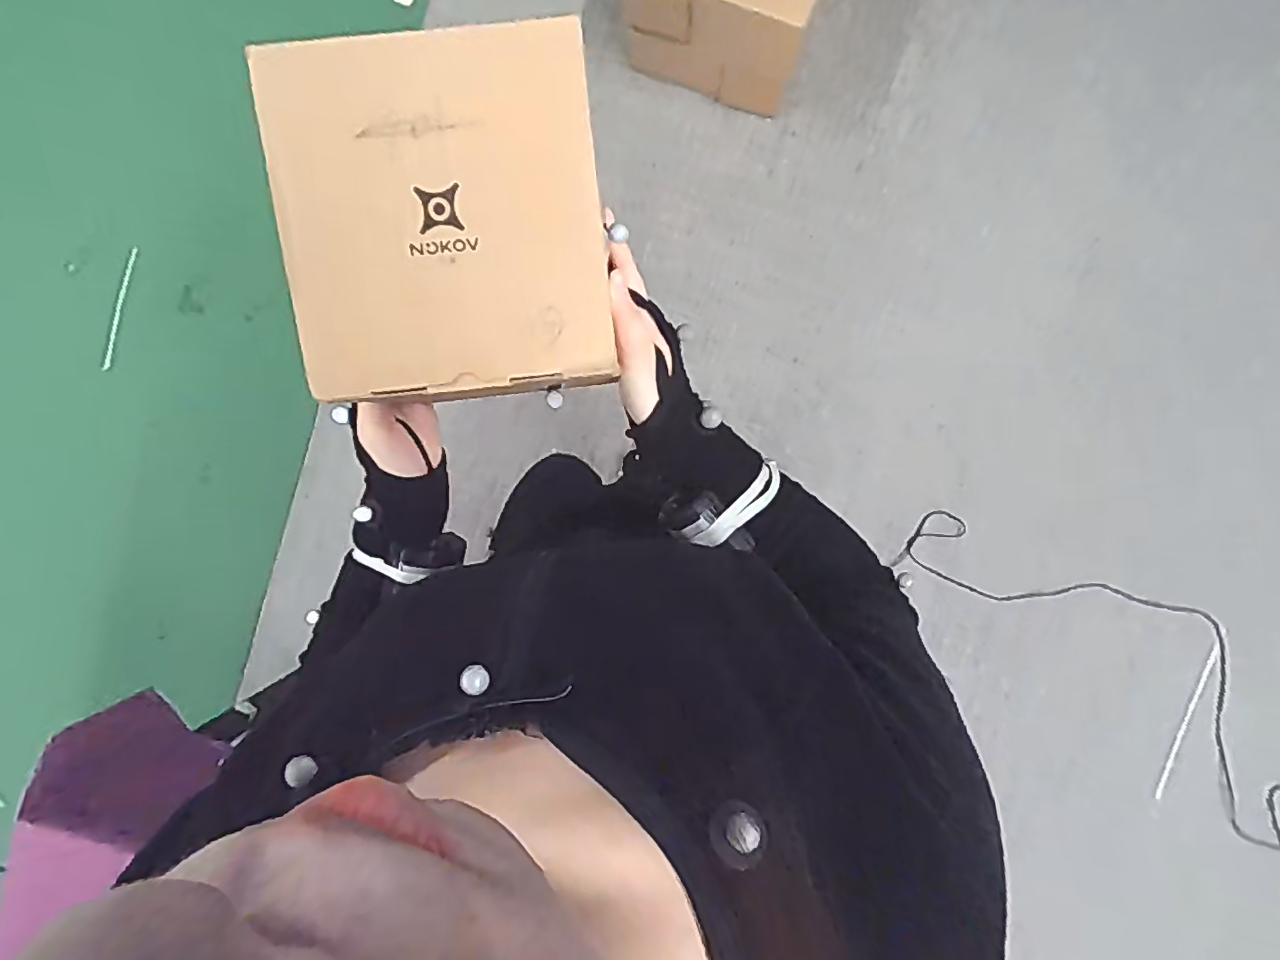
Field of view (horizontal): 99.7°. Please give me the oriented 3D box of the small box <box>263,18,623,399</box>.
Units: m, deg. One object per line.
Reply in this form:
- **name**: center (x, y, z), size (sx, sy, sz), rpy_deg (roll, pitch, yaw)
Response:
- **small box**: center (-0.099, -0.148, 0.357), size (0.168, 0.176, 0.179), rpy_deg (-5, 99, -1)
